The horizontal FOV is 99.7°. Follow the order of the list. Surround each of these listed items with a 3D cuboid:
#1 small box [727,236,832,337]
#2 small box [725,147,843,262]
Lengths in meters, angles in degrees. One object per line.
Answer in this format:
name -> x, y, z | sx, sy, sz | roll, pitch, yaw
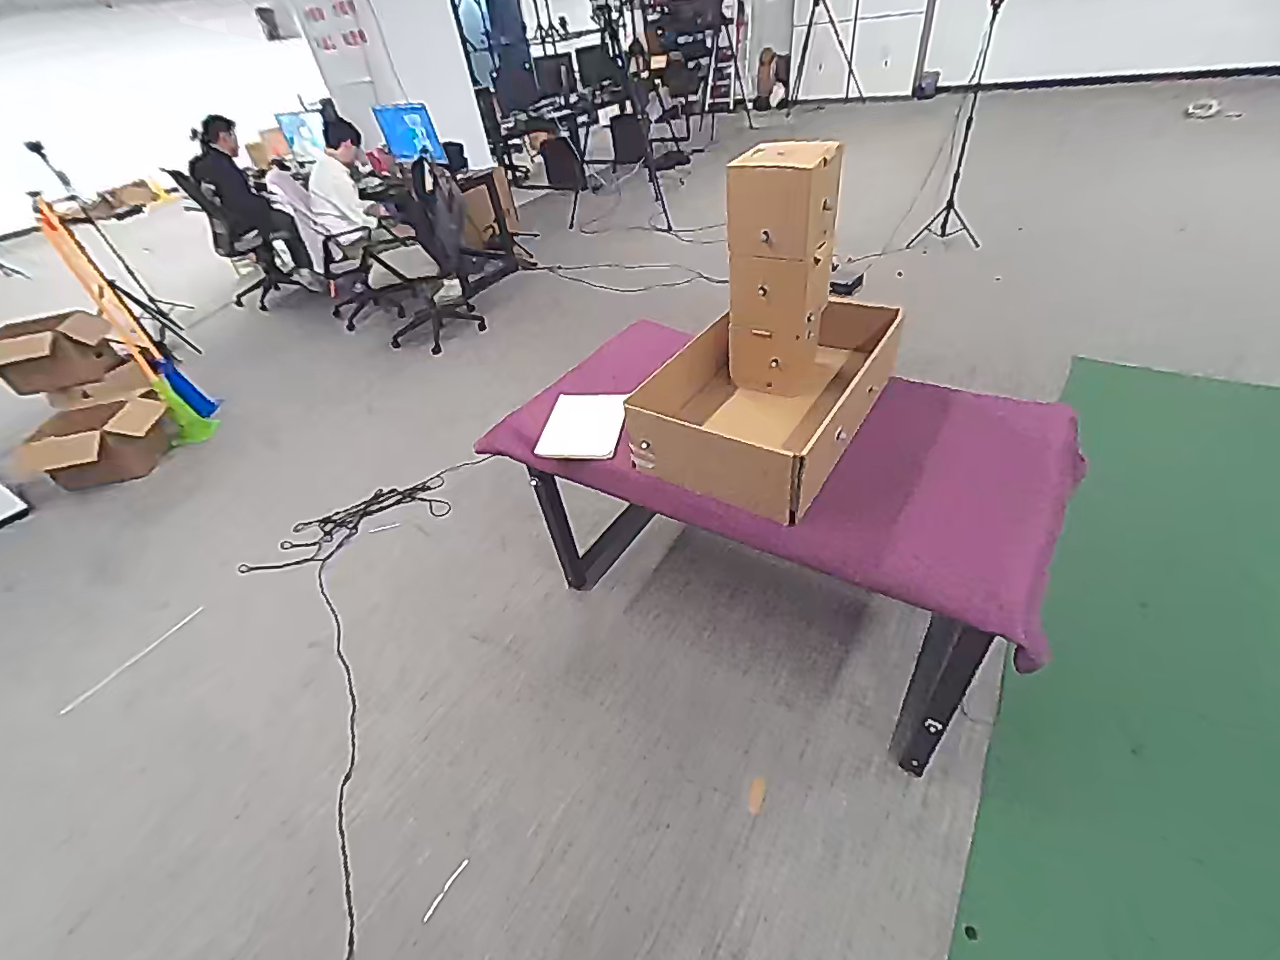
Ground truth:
small box -> 0.310, -0.437, 1.208 | 0.179, 0.176, 0.168 | 18, 49, 28
small box -> 0.289, -0.561, 1.102 | 0.179, 0.176, 0.168 | 21, 50, 29
